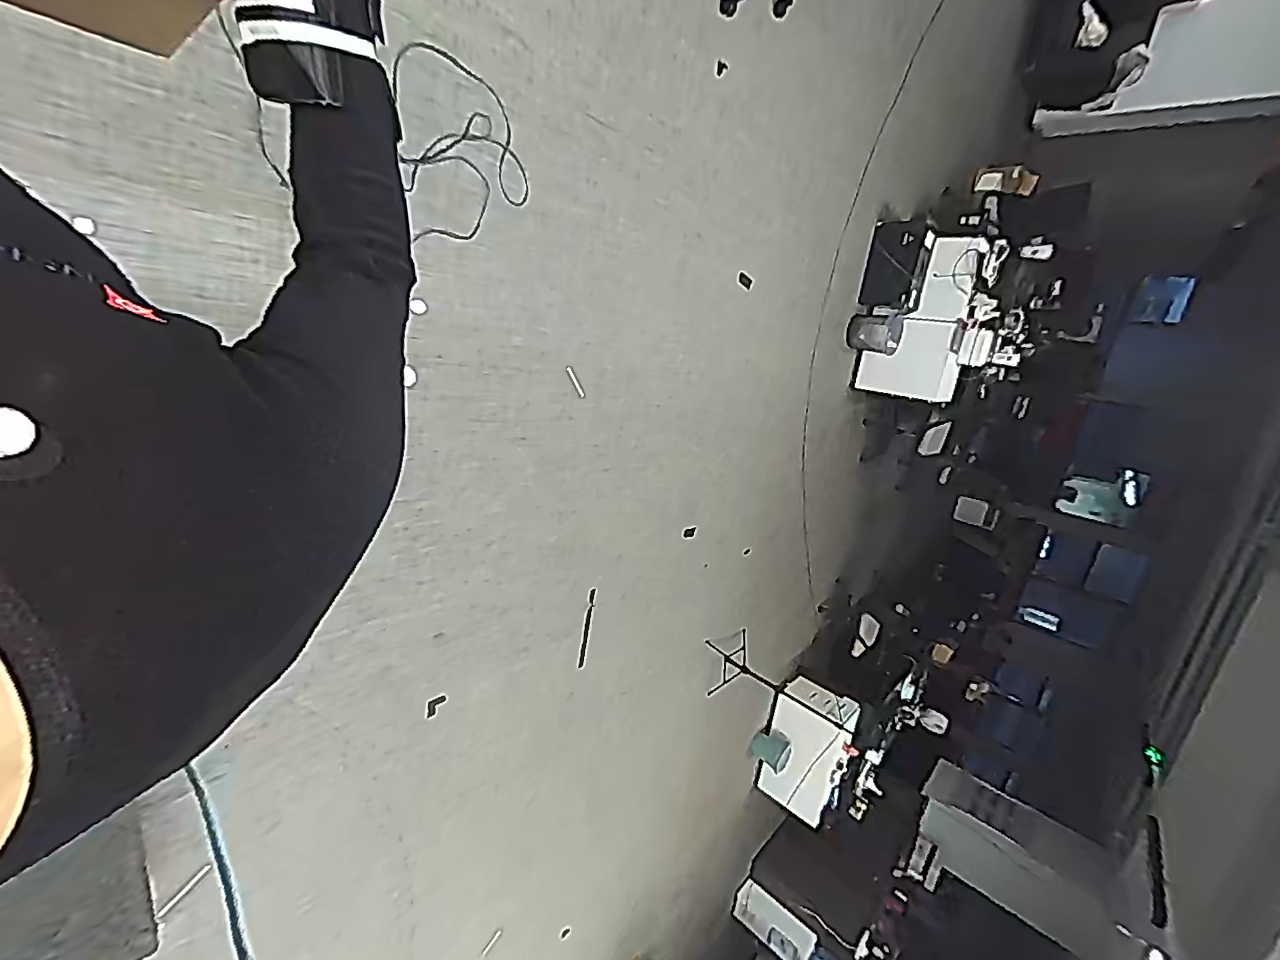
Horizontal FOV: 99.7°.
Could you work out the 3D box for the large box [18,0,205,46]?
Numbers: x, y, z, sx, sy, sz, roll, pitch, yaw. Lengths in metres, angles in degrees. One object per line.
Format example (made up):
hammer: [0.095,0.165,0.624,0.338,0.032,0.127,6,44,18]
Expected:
large box: [-0.451,-0.478,0.229,0.408,0.320,0.320,-11,115,-48]
